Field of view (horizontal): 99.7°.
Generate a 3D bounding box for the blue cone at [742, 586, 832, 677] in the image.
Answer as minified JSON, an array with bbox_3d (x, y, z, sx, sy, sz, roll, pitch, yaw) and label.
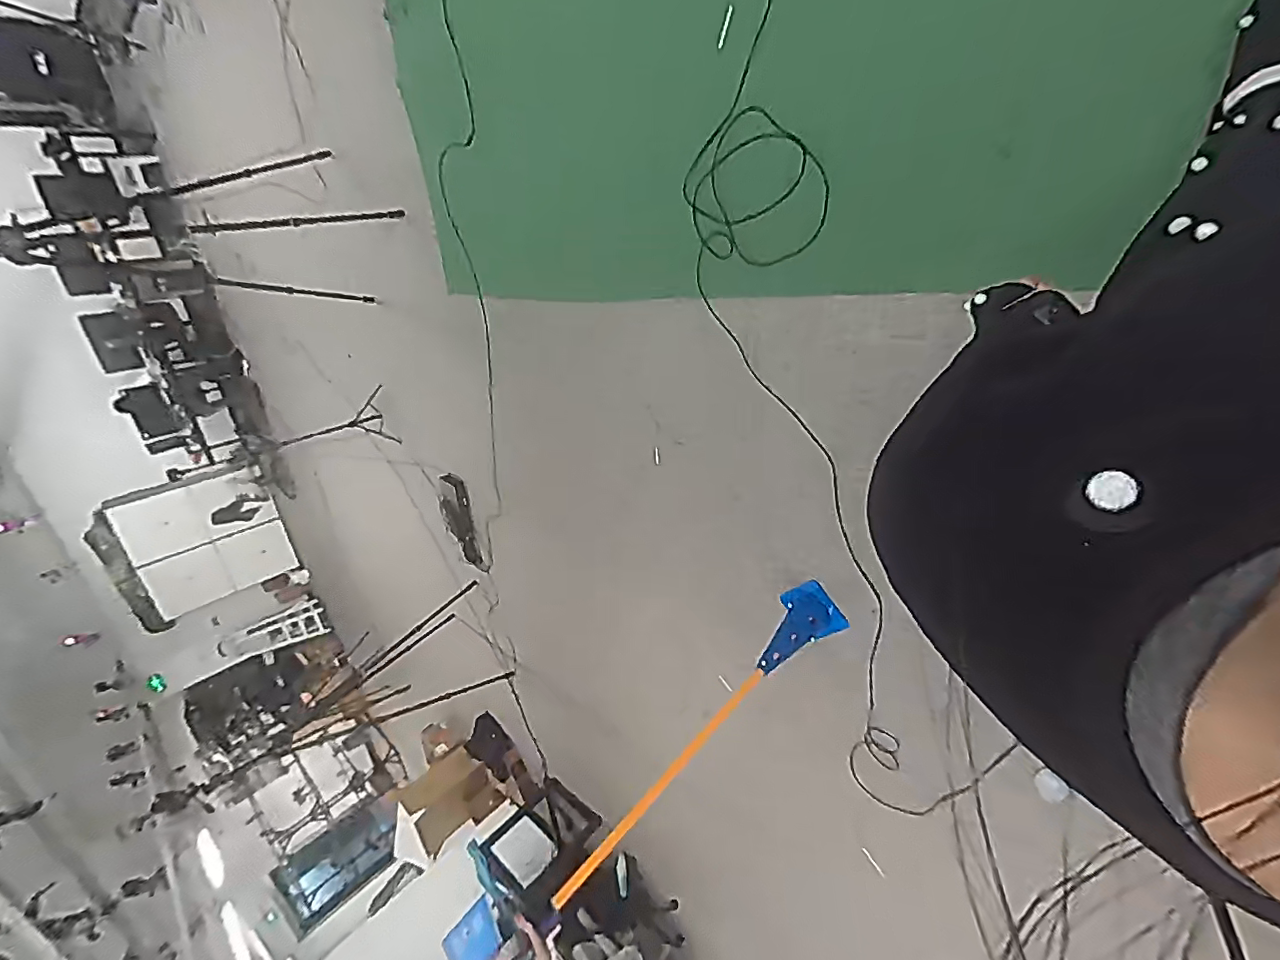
[{"bbox_3d":[0.467,0.546,1.828,0.192,0.380,0.193,52,141,9],"label":"blue cone"}]
